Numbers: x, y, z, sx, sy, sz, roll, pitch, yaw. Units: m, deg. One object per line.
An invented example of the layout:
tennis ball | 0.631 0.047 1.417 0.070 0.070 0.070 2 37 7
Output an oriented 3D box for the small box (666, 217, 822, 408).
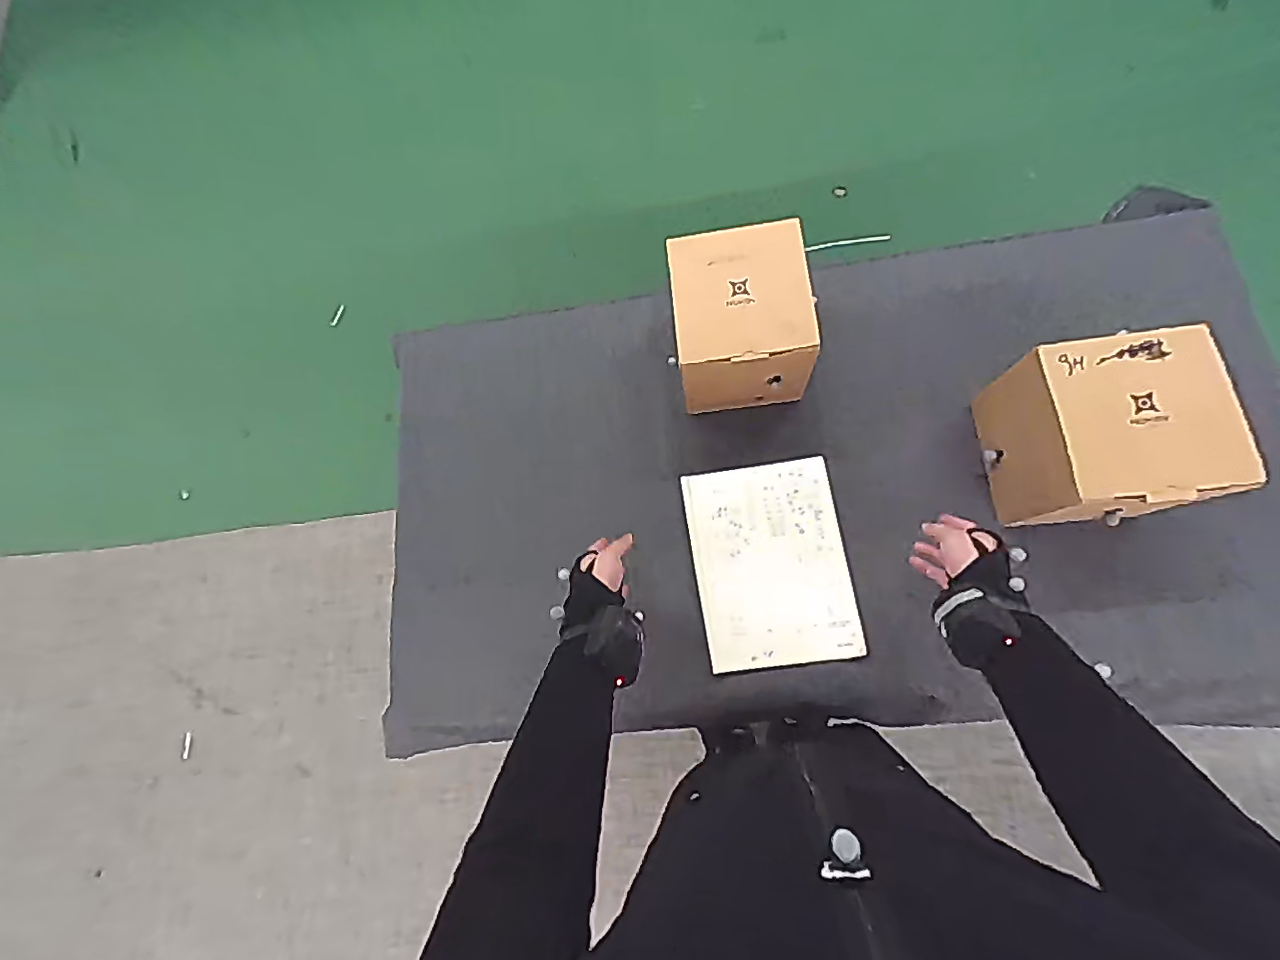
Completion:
small box | 0.130 -0.204 0.711 0.168 0.176 0.179 -7 75 6

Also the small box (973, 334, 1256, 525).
small box | 0.523 -0.044 0.629 0.168 0.176 0.179 -6 77 7
